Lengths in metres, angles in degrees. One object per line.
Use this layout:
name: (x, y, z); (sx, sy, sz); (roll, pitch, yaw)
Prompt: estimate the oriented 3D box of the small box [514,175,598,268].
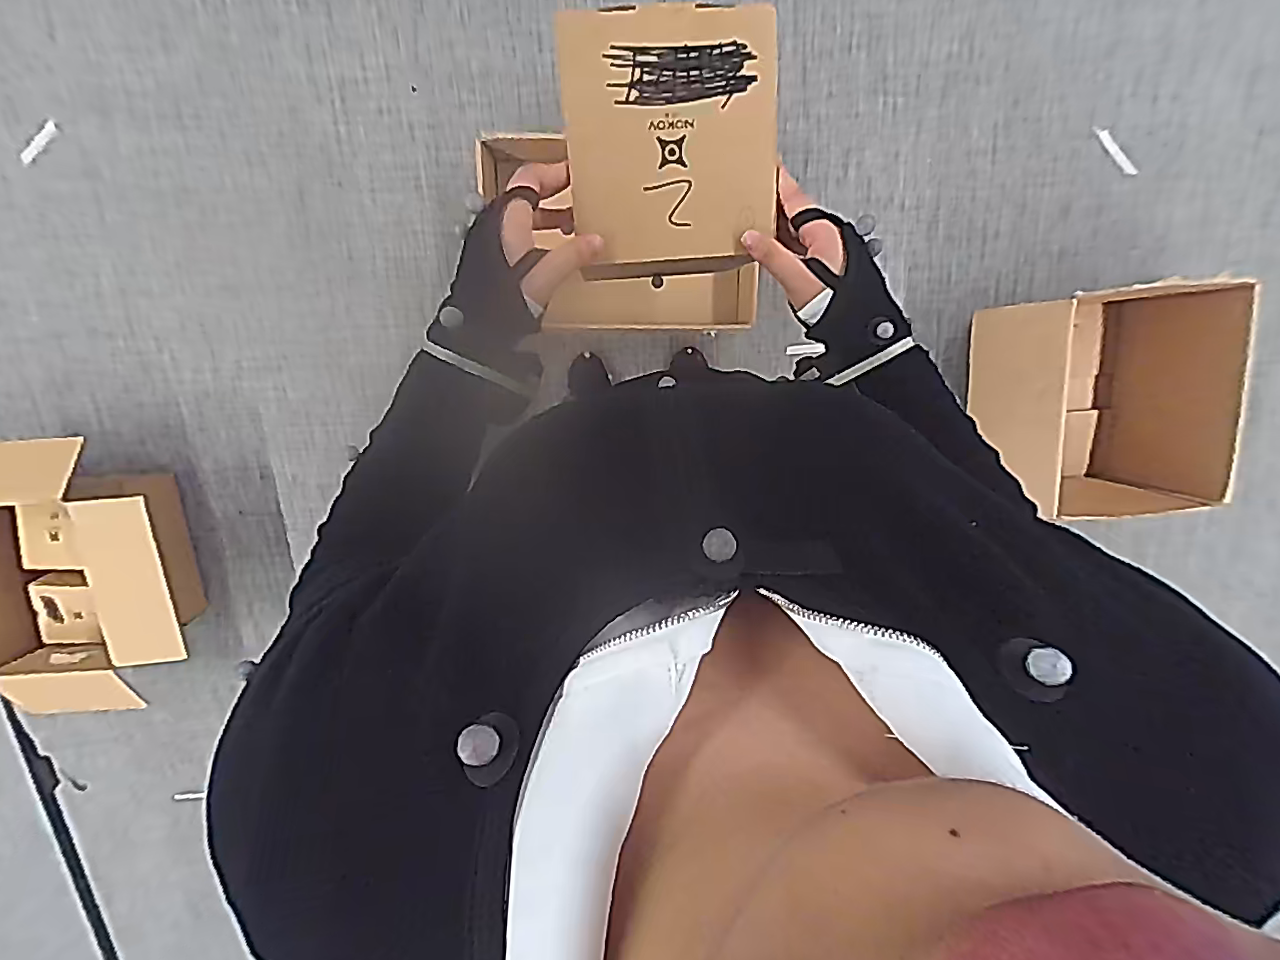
small box: (-0.185, -0.583, 1.240); (0.179, 0.176, 0.168); (-1, 105, -5)
